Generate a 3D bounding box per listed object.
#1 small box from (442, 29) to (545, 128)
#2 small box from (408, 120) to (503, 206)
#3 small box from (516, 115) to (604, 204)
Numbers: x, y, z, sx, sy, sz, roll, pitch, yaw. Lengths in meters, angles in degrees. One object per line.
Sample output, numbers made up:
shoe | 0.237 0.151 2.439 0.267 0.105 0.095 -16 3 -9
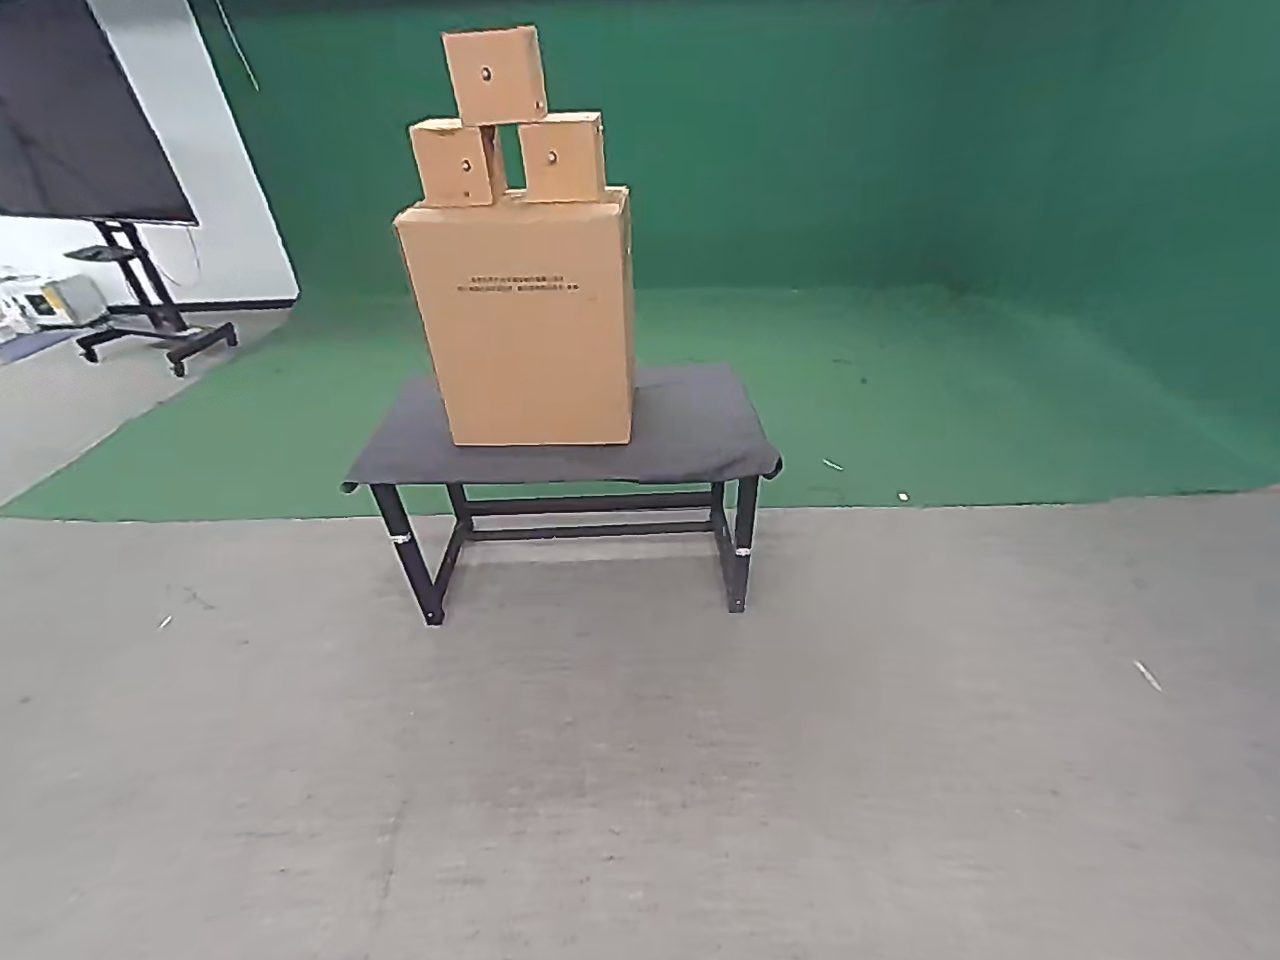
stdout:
small box | -0.322 -0.916 1.233 0.179 0.176 0.168 -2 38 2
small box | -0.445 -0.785 1.338 0.168 0.176 0.179 0 37 0
small box | -0.188 -0.788 1.332 0.179 0.176 0.168 0 39 3
